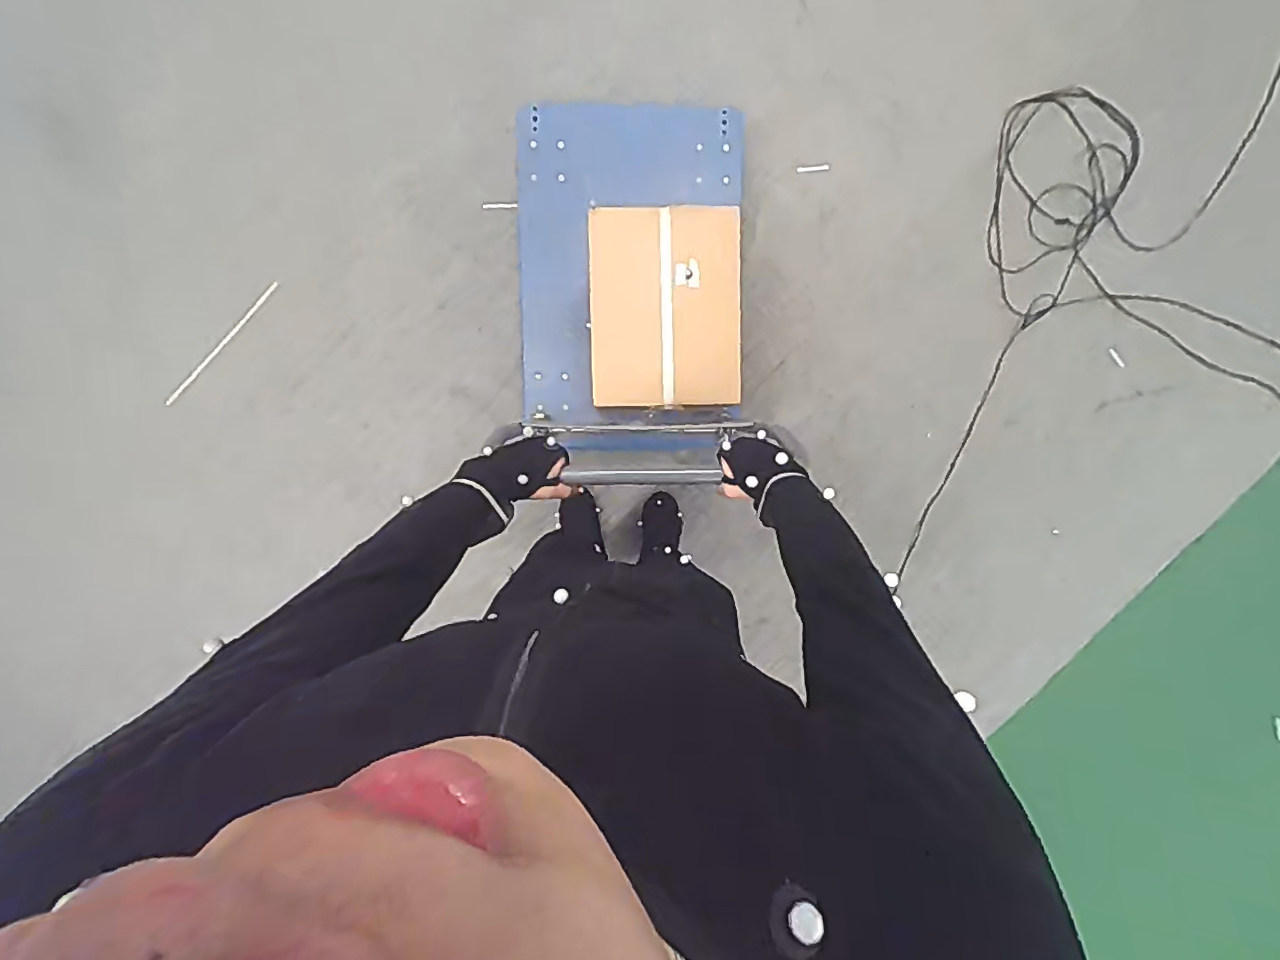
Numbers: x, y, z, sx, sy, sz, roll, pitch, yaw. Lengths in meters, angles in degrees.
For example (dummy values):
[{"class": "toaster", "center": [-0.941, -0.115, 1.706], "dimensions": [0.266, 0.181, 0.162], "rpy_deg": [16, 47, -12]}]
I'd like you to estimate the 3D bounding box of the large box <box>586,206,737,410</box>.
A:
[{"class": "large box", "center": [0.044, -0.379, 1.286], "dimensions": [0.320, 0.320, 0.408], "rpy_deg": [-1, 95, -3]}]
